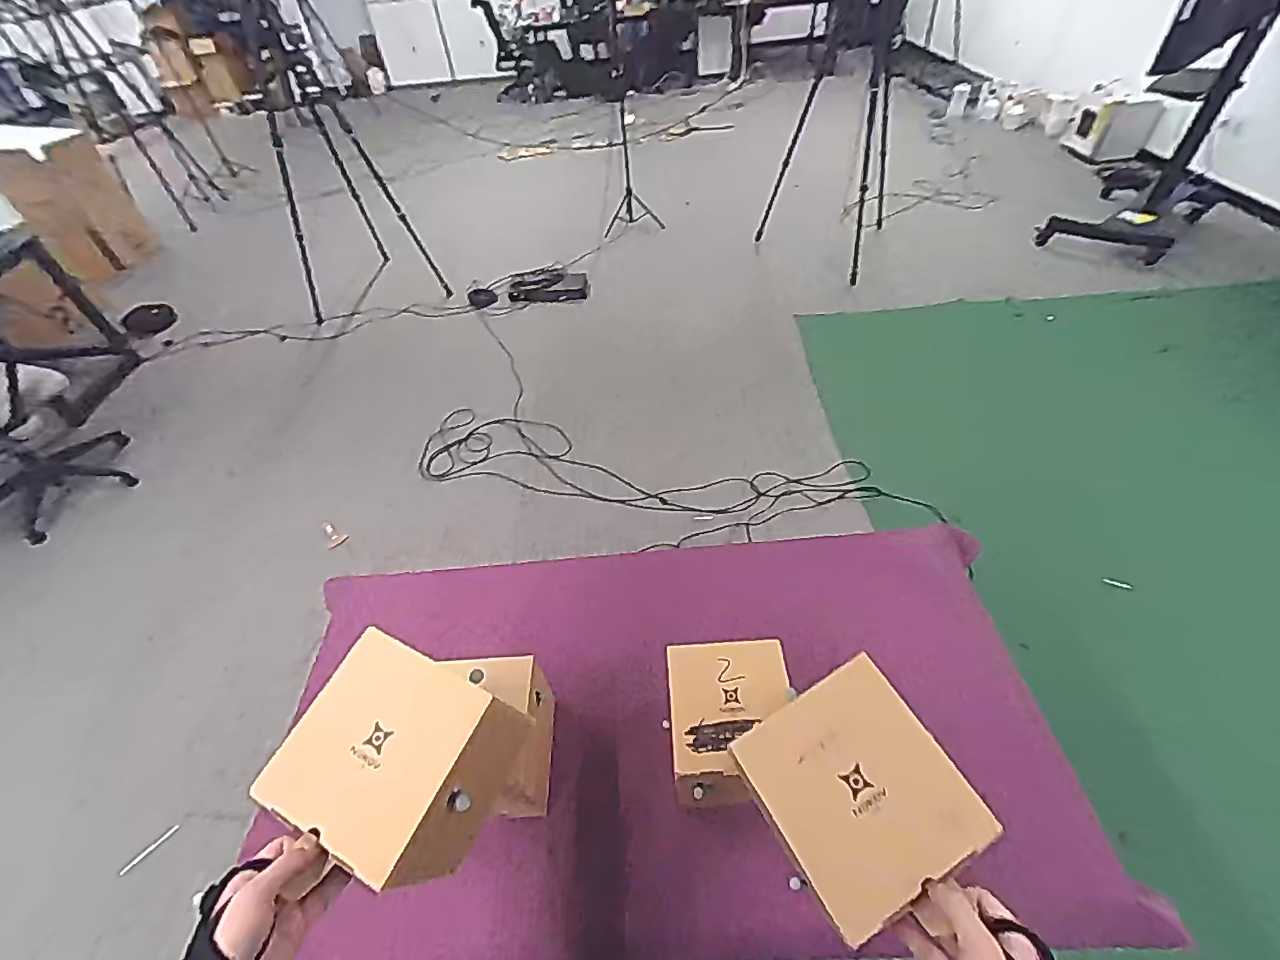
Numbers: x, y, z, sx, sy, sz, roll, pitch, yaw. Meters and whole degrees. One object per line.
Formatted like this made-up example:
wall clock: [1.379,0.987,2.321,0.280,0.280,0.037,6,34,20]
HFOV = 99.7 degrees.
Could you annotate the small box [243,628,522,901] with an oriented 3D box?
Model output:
small box: [-0.244,0.288,0.569,0.168,0.176,0.179,21,64,18]

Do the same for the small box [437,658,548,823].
small box: [-0.233,0.381,0.786,0.168,0.176,0.179,-4,47,2]

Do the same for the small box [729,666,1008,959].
small box: [0.204,0.317,0.542,0.168,0.176,0.179,-28,61,-9]
